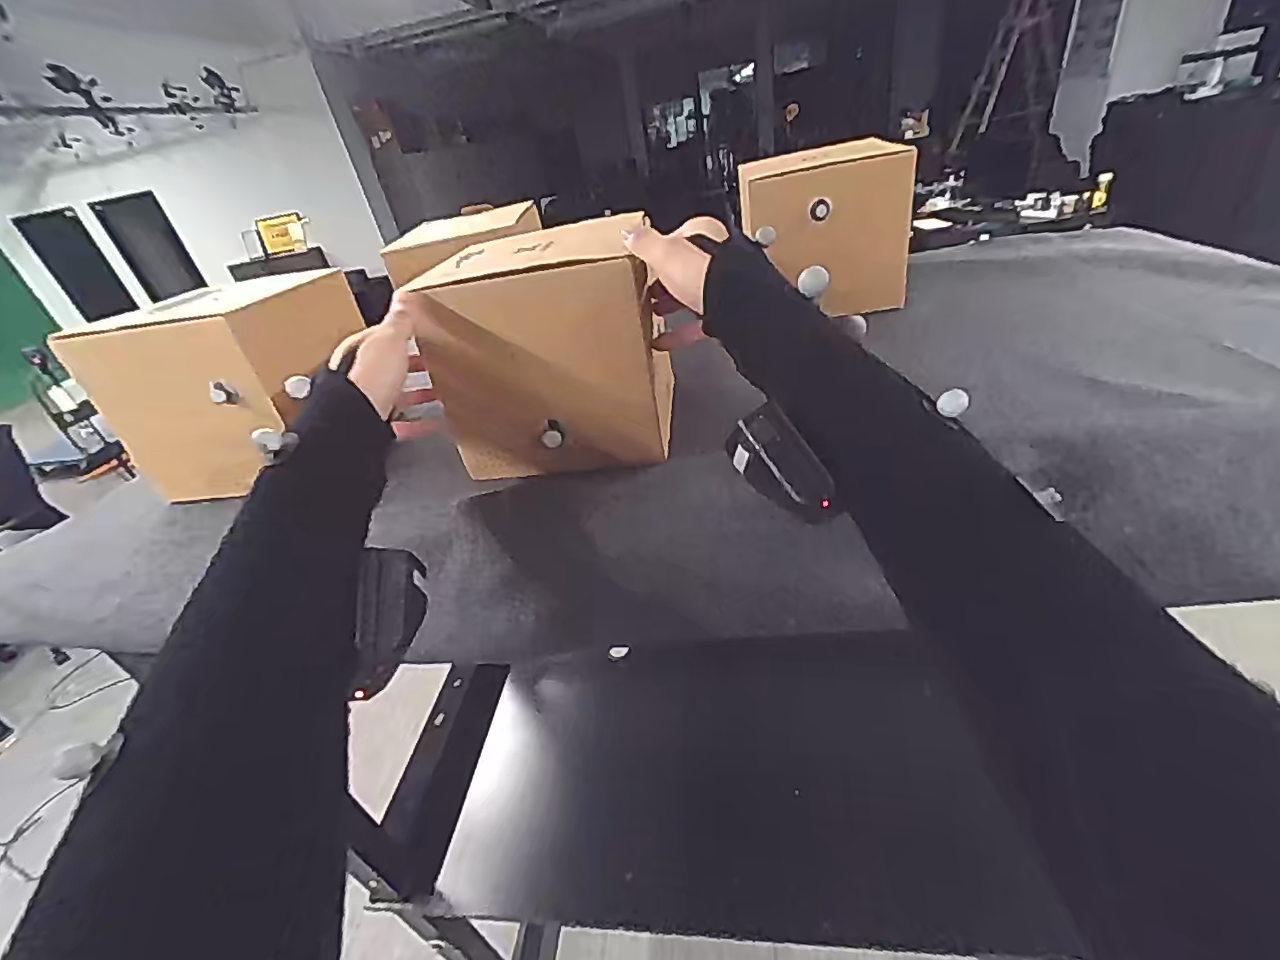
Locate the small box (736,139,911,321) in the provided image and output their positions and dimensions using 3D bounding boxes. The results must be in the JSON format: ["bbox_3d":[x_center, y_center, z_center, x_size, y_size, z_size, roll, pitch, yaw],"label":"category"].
[{"bbox_3d":[0.218,-0.309,0.676,0.179,0.176,0.168,-5,34,10],"label":"small box"}]

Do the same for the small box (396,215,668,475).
[{"bbox_3d":[-0.072,-0.120,0.484,0.179,0.176,0.168,-5,33,10],"label":"small box"}]

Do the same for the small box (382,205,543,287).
[{"bbox_3d":[-0.209,-0.258,0.735,0.168,0.176,0.179,-10,33,5],"label":"small box"}]
